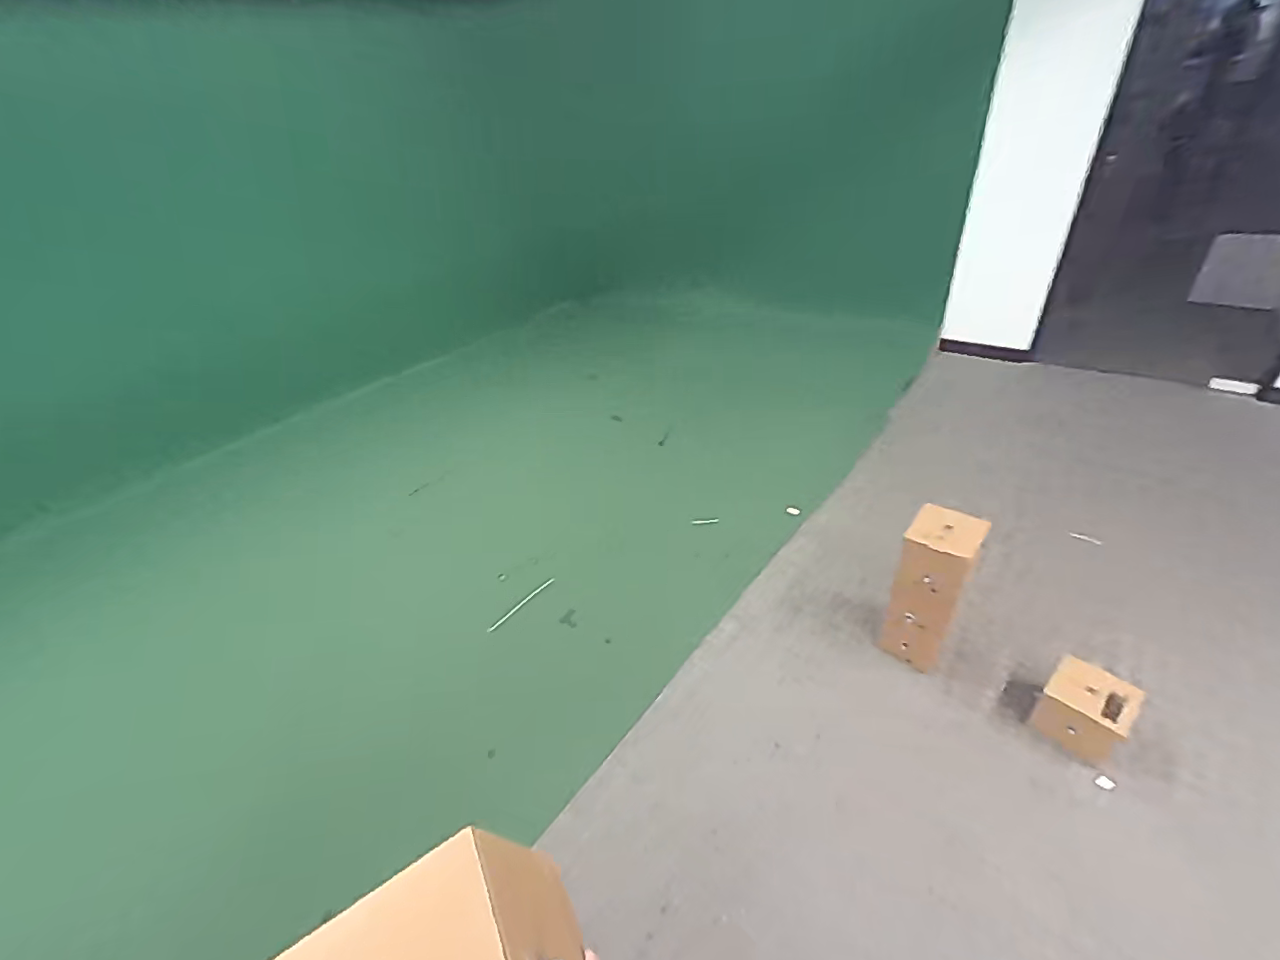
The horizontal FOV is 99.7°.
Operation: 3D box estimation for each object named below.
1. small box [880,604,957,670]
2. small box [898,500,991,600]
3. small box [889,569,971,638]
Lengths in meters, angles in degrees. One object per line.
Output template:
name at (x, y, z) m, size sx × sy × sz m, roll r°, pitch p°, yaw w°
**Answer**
small box at (0.860, 0.447, 1.666) m, size 0.168 × 0.176 × 0.179 m, roll 26°, pitch 49°, yaw 38°
small box at (0.821, 0.189, 1.468) m, size 0.168 × 0.176 × 0.179 m, roll 22°, pitch 46°, yaw 37°
small box at (0.842, 0.319, 1.568) m, size 0.168 × 0.176 × 0.179 m, roll 22°, pitch 47°, yaw 37°
